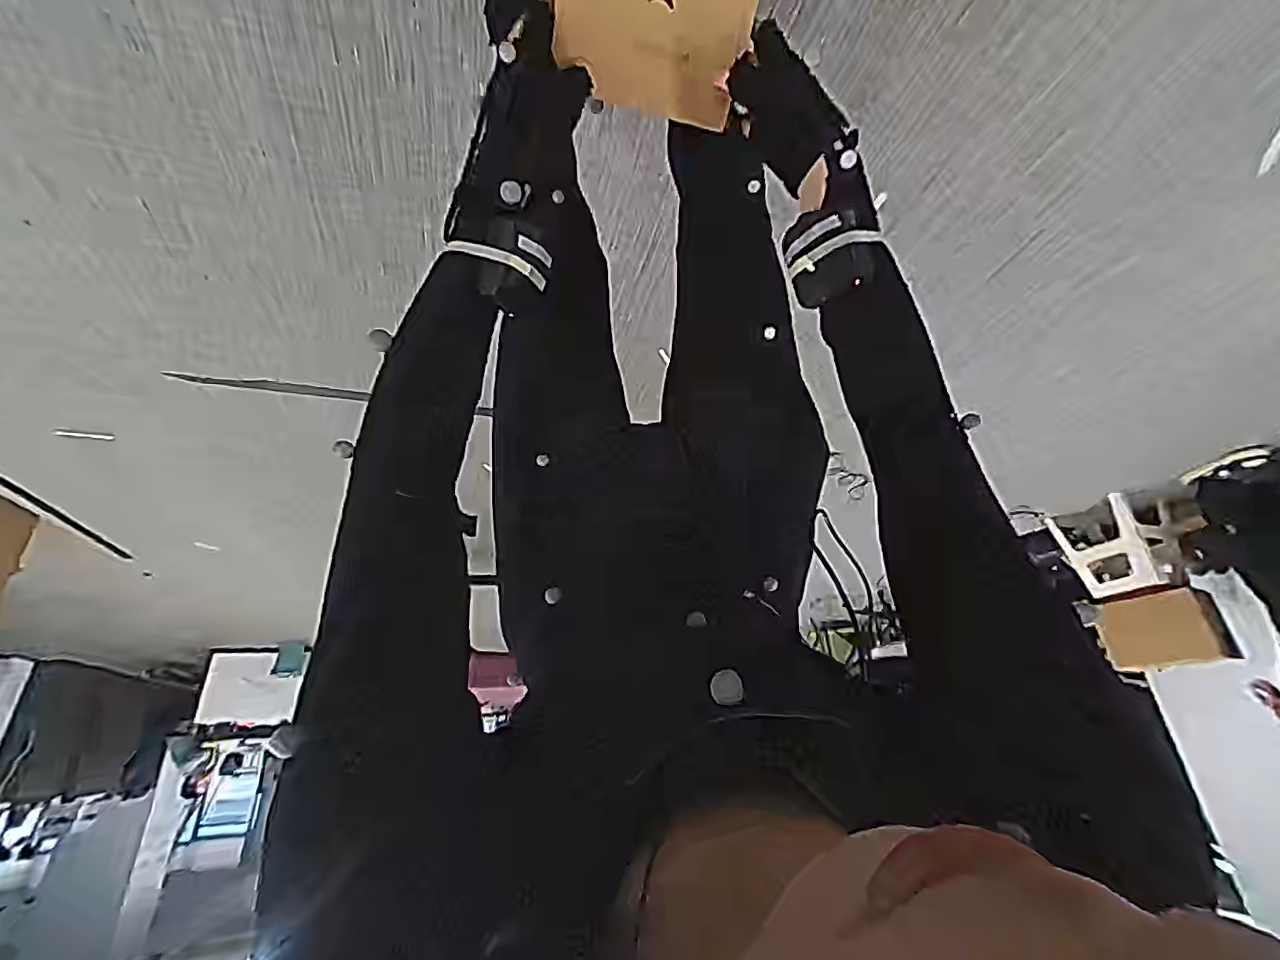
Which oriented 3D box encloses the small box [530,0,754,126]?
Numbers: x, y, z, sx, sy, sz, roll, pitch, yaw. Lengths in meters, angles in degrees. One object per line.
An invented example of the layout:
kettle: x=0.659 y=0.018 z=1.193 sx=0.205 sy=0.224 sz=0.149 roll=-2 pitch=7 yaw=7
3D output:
small box: x=-0.003 y=-0.444 z=0.478 sx=0.168 sy=0.176 sz=0.179 roll=2 pitch=129 yaw=-18
